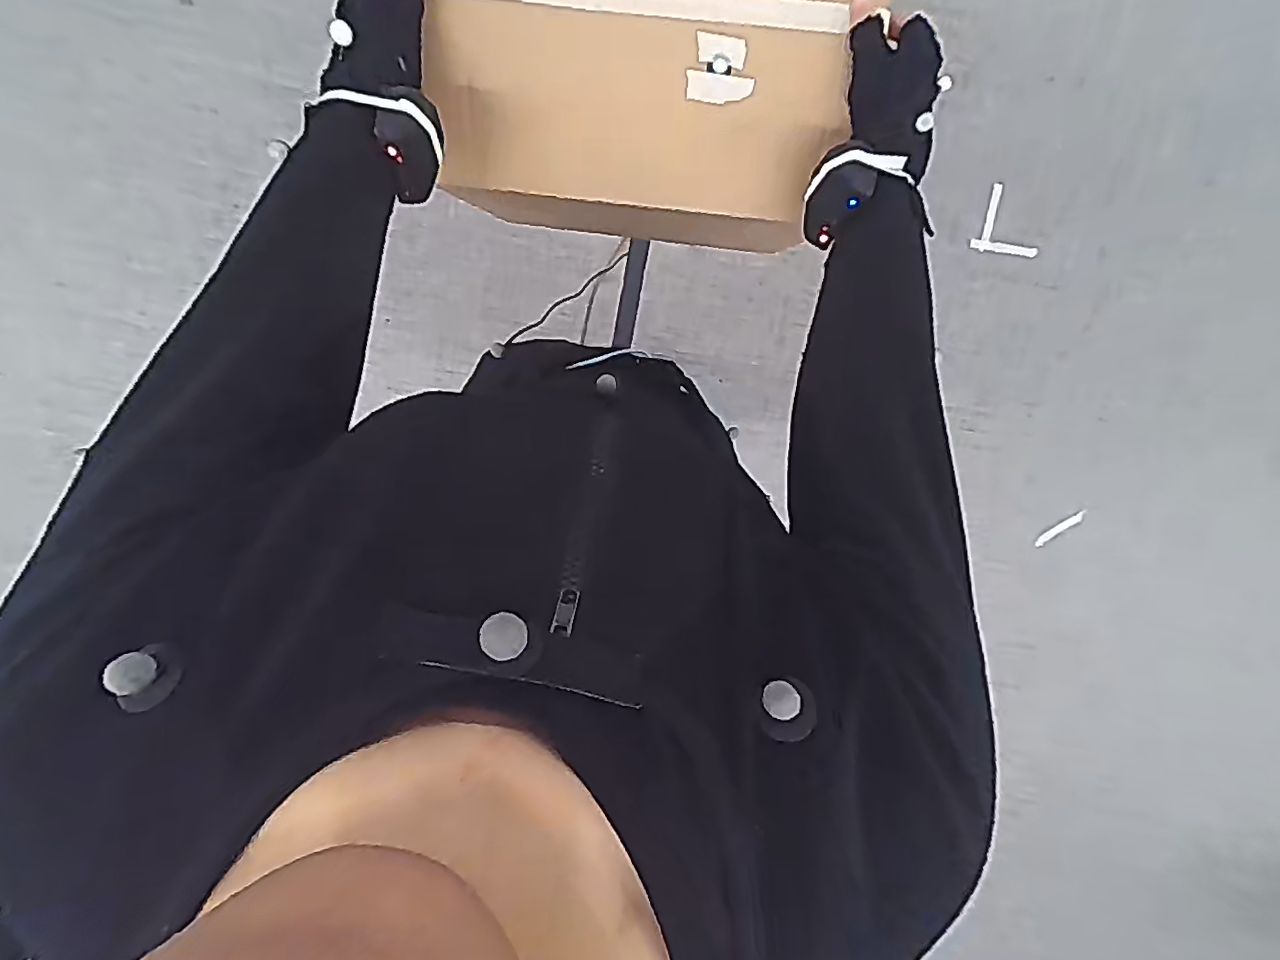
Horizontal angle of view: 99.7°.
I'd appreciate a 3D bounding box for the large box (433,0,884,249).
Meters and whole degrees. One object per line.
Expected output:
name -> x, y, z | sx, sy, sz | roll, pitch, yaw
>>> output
large box -> 0.015, -0.458, 0.620 | 0.408, 0.320, 0.320 | 6, 110, -1
